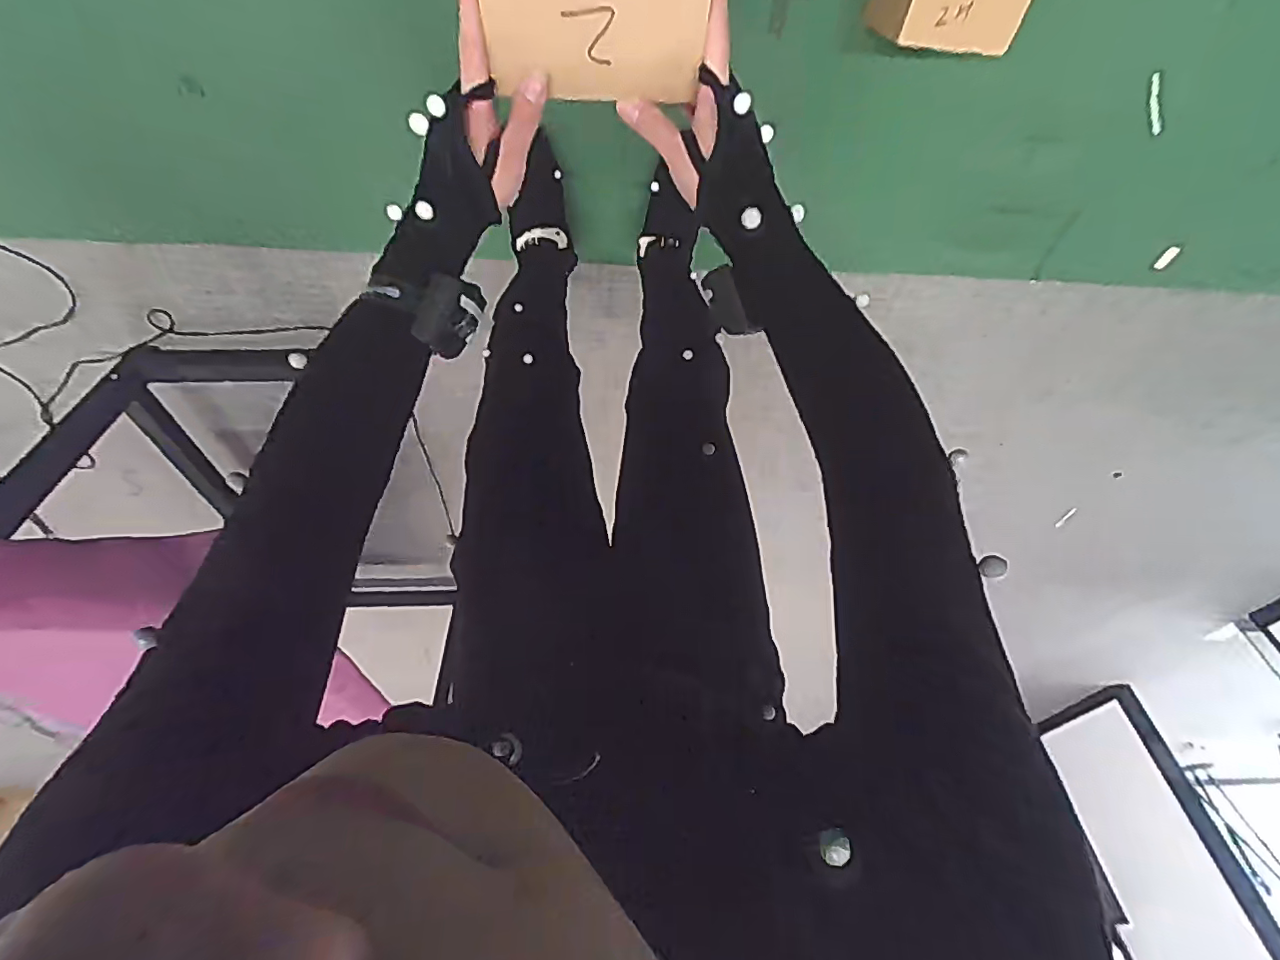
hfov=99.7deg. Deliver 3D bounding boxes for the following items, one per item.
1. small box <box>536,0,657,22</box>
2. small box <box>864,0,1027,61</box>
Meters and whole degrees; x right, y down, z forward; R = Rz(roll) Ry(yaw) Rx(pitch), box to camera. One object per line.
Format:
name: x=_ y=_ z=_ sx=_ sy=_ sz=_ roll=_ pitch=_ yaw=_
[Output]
small box: x=-0.054 y=-0.748 z=0.724 sx=0.168 sy=0.176 sz=0.179 roll=1 pitch=138 yaw=-5
small box: x=0.447 y=-0.733 z=0.771 sx=0.168 sy=0.176 sz=0.179 roll=2 pitch=139 yaw=-6
